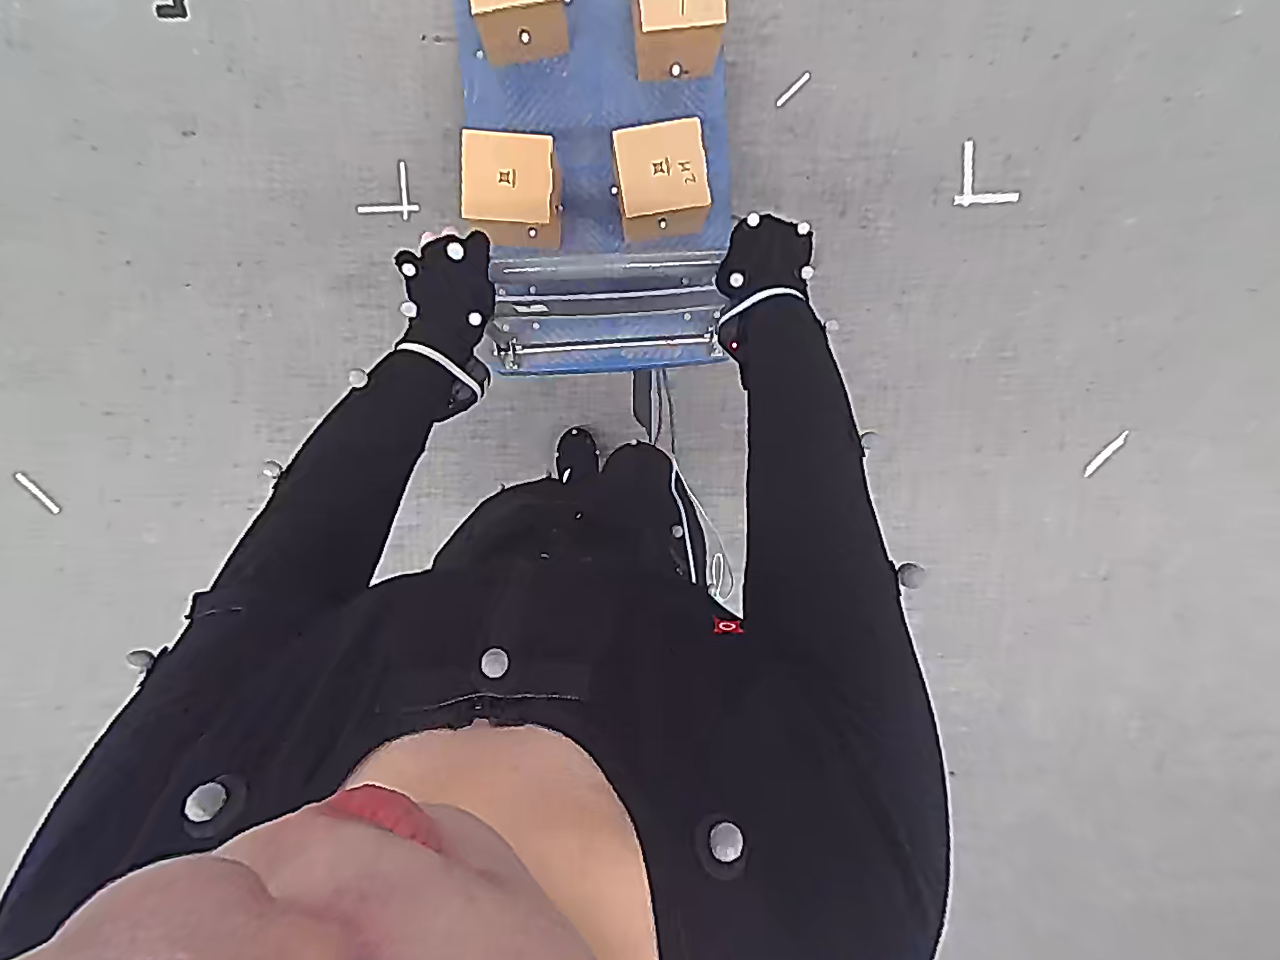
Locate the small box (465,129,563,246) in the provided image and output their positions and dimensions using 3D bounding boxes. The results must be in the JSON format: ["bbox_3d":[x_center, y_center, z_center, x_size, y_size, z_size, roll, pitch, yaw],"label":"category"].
[{"bbox_3d":[-0.259,-0.605,1.140,0.179,0.176,0.168,2,97,-4],"label":"small box"}]

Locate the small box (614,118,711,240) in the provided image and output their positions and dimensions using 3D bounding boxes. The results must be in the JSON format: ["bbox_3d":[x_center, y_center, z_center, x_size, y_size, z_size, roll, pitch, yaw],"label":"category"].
[{"bbox_3d":[0.045,-0.627,1.148,0.179,0.176,0.168,-9,98,-1],"label":"small box"}]

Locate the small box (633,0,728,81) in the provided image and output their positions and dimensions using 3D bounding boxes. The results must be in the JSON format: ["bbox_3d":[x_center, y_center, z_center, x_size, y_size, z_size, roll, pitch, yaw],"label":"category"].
[{"bbox_3d":[0.076,-0.964,1.105,0.168,0.176,0.179,-7,99,-1],"label":"small box"}]
